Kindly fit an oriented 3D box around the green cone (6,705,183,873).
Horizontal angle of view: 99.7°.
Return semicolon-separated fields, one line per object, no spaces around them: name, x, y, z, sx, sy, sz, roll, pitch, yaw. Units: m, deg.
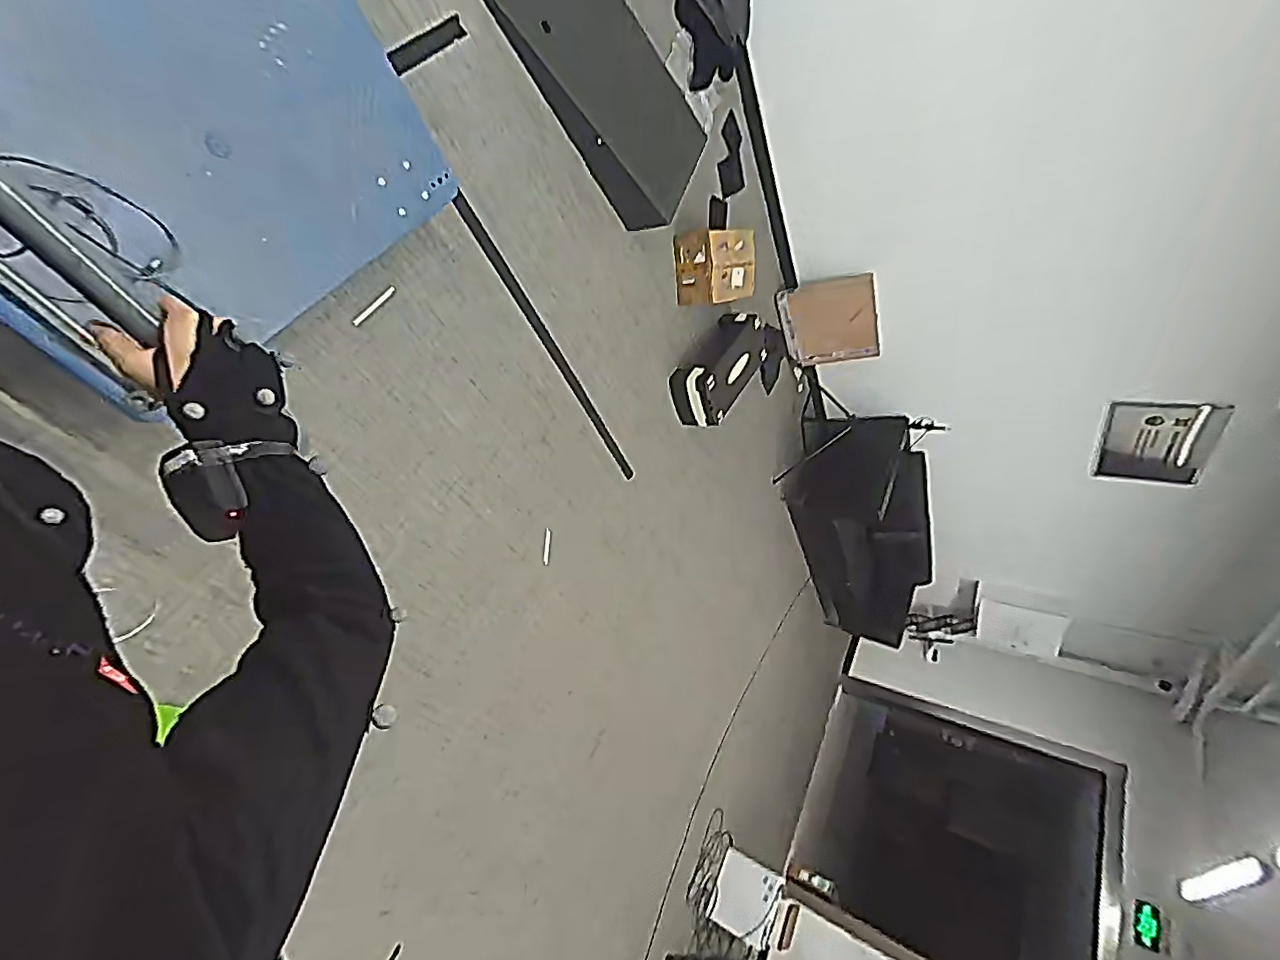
green cone;-0.925;0.576;0.968;0.200;0.368;0.202;43;64;-50
